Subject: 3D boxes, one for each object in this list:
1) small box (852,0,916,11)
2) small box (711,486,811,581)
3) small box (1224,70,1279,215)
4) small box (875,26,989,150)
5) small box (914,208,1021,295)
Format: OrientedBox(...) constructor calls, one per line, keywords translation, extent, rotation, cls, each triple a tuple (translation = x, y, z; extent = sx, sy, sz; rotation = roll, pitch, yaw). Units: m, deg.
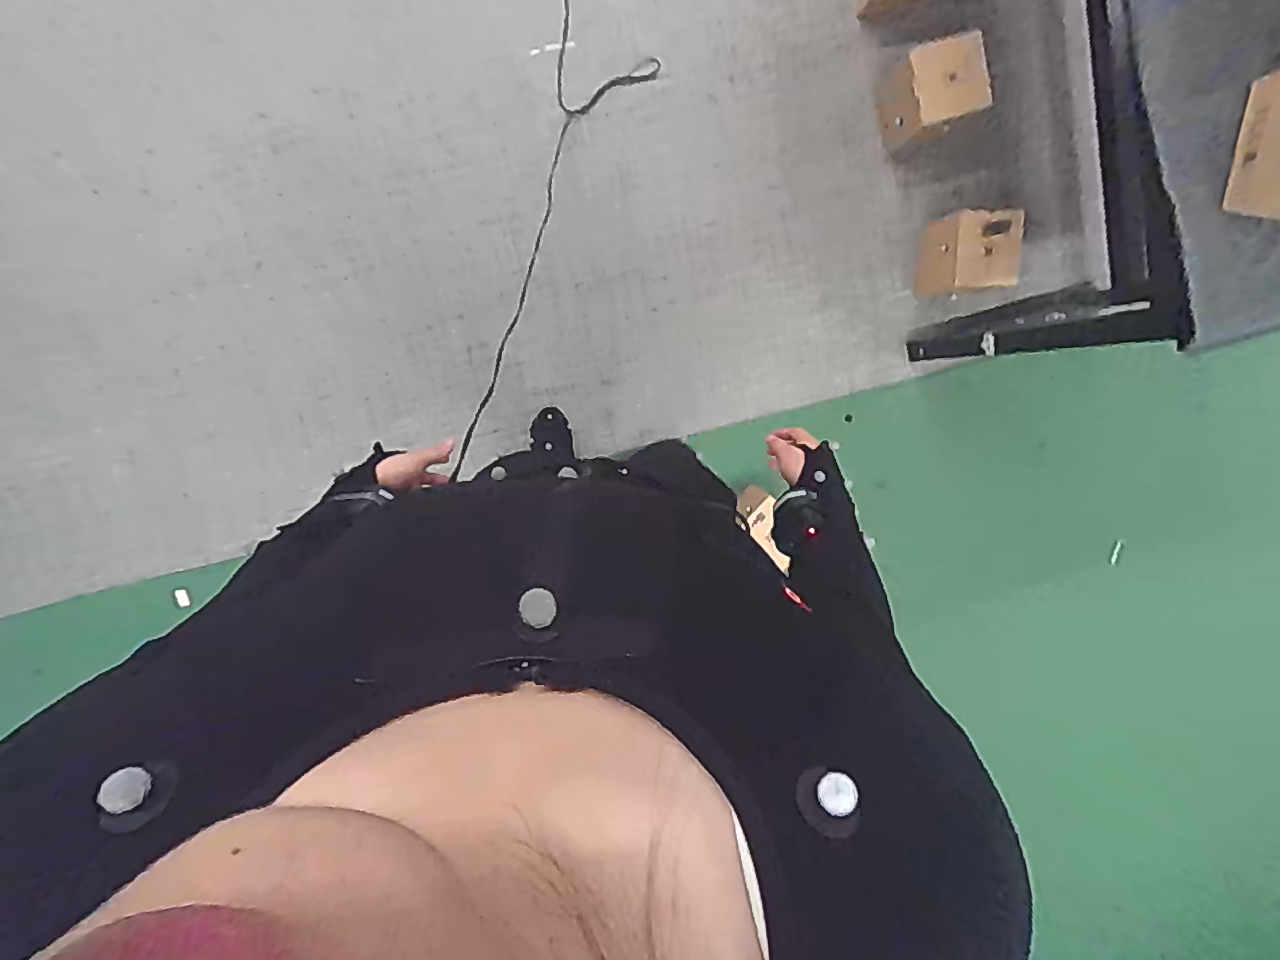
OrientedBox(translation=(0.599, -1.233, 1.249), extent=(0.179, 0.176, 0.168), rotation=(-12, 100, -3), cls="small box")
OrientedBox(translation=(0.321, 0.136, 1.463), extent=(0.179, 0.176, 0.168), rotation=(42, 94, -11), cls="small box")
OrientedBox(translation=(0.898, -0.438, 0.666), extent=(0.179, 0.176, 0.168), rotation=(5, 100, -8), cls="small box")
OrientedBox(translation=(0.694, -0.935, 1.307), extent=(0.179, 0.176, 0.168), rotation=(-18, 101, -2), cls="small box")
OrientedBox(translation=(0.827, -0.577, 1.380), extent=(0.168, 0.176, 0.179), rotation=(-3, 102, -4), cls="small box")
